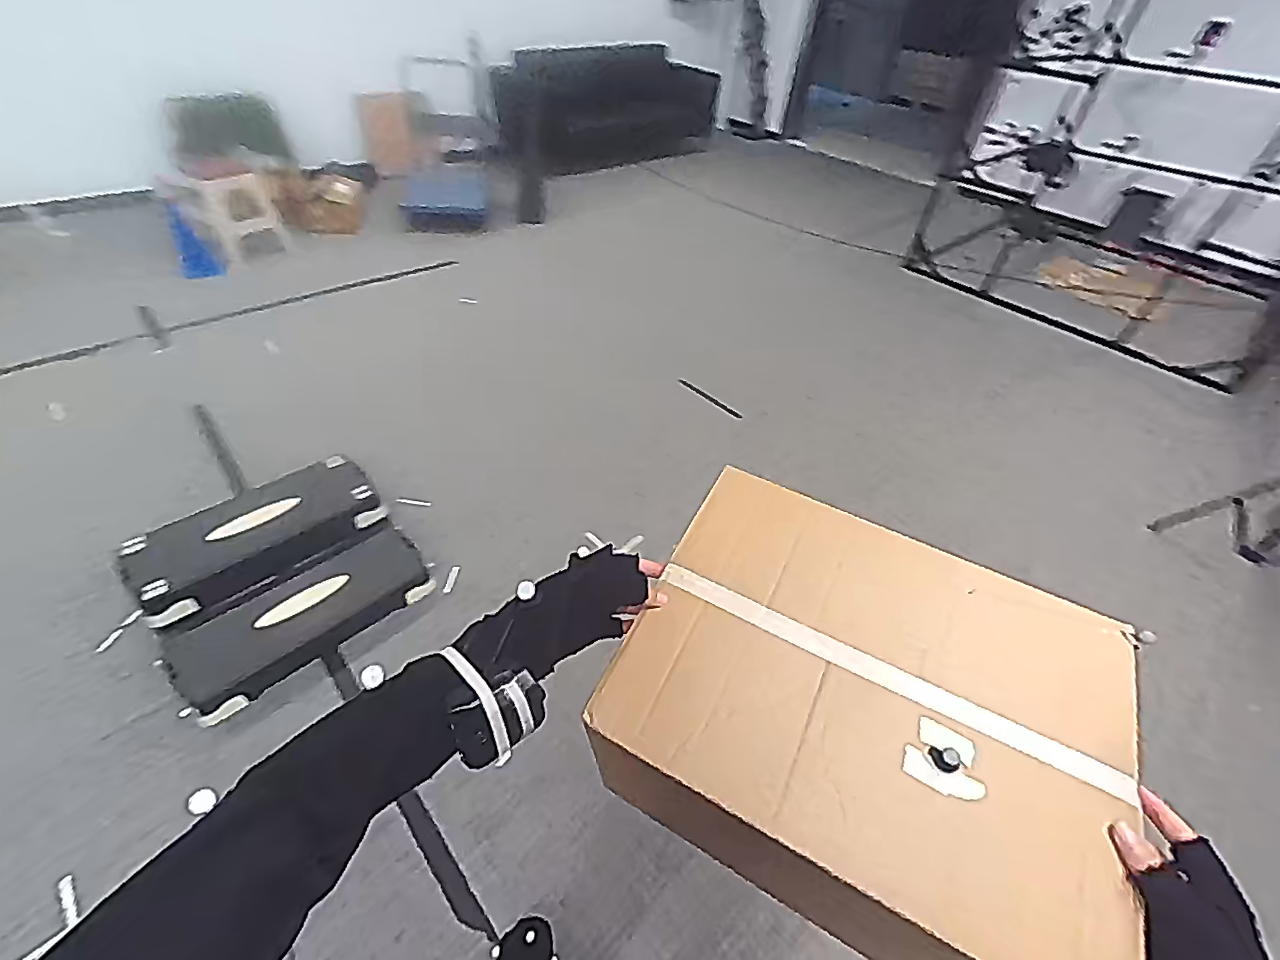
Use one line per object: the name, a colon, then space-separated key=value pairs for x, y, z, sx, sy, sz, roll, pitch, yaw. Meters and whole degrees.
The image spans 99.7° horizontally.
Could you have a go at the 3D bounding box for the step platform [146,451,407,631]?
step platform: x=-1.134 y=0.166 z=1.738 sx=0.286 sy=0.204 sz=0.684 roll=37 pitch=51 yaw=28

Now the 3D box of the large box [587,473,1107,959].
large box: x=0.192 y=0.257 z=0.605 sx=0.408 sy=0.320 sz=0.320 roll=23 pitch=56 yaw=16
